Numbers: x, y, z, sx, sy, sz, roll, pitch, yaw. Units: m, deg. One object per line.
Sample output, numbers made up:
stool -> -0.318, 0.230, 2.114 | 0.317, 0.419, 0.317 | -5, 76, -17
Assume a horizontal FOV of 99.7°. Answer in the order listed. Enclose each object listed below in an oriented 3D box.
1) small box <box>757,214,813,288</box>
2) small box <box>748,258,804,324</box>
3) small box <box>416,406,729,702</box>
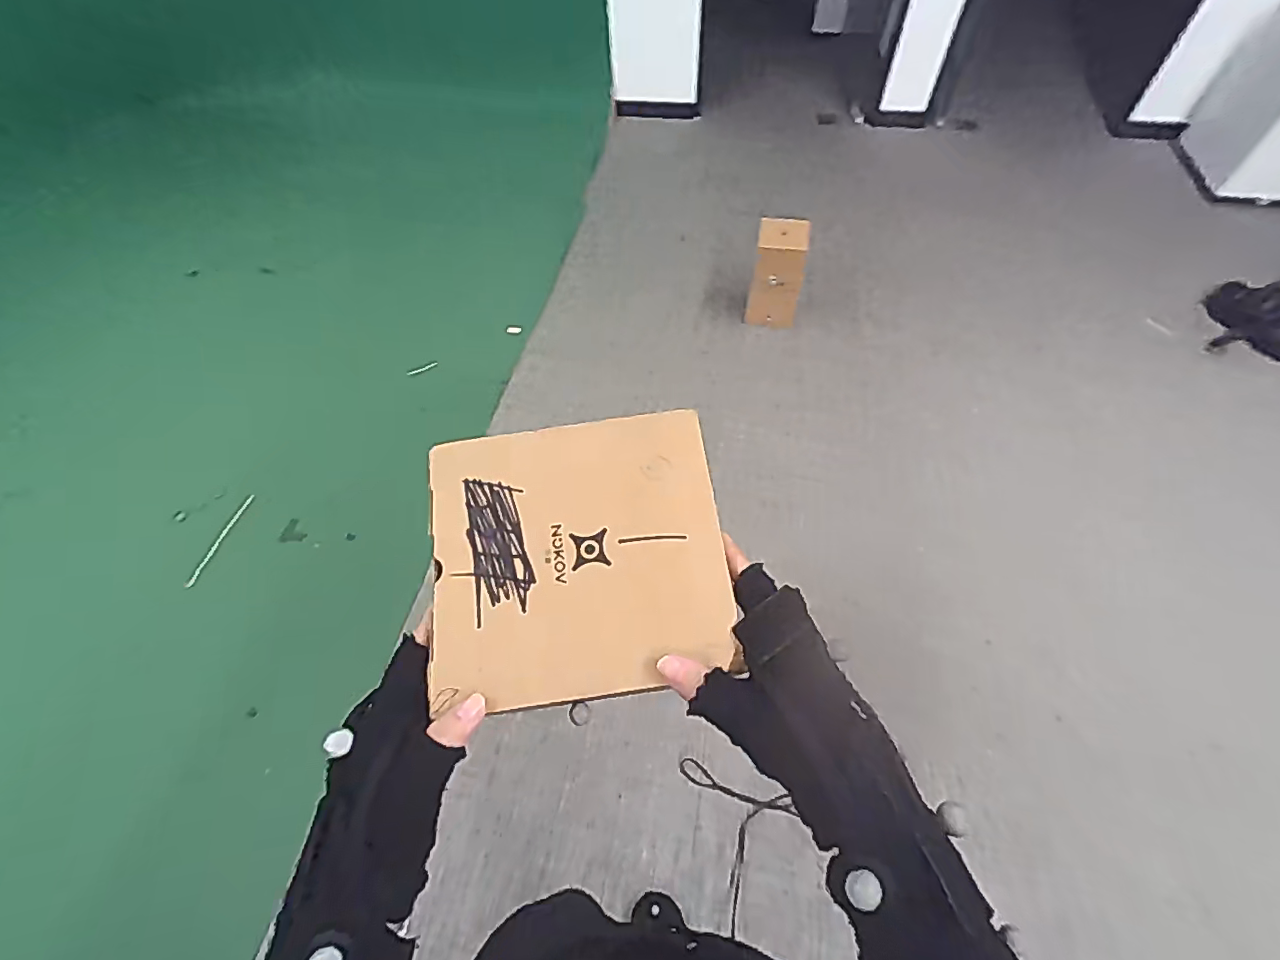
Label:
small box -> 0.505, -0.803, 1.897 | 0.168, 0.176, 0.179 | 8, 58, 11
small box -> 0.511, -0.710, 2.031 | 0.179, 0.176, 0.168 | 10, 57, 10
small box -> -0.041, 0.066, 0.397 | 0.179, 0.176, 0.168 | -7, 69, -1
